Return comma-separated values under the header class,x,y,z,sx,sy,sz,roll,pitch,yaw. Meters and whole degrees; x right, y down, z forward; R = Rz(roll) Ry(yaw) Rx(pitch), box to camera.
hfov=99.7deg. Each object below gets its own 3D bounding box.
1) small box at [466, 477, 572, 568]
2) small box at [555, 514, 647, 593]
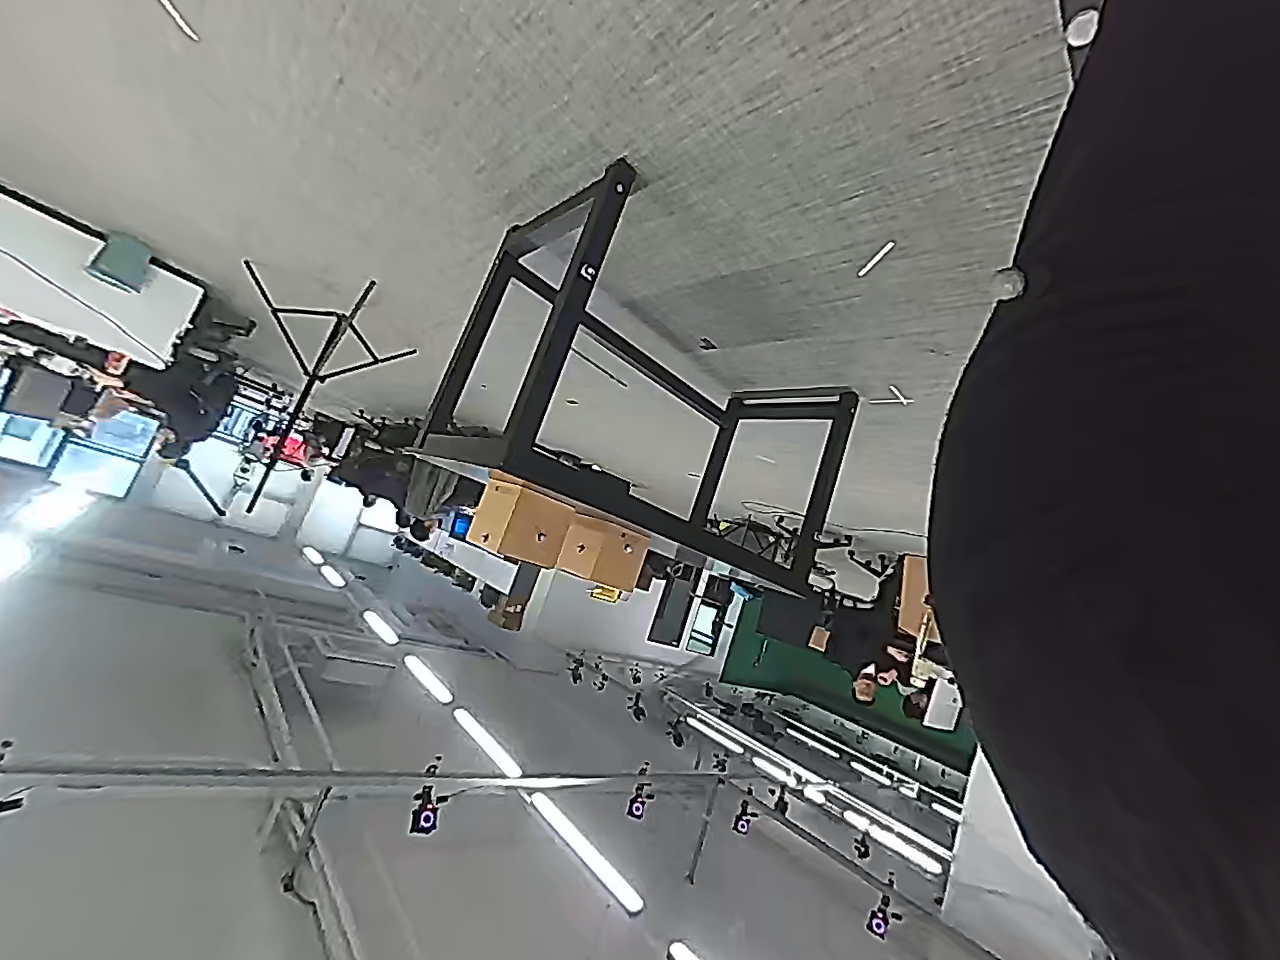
class,x,y,z,sx,sy,sz,roll,pitch,yaw
small box,-0.300,0.105,1.358,0.168,0.176,0.179,10,168,47
small box,-0.107,0.203,1.538,0.168,0.176,0.179,26,168,-39
